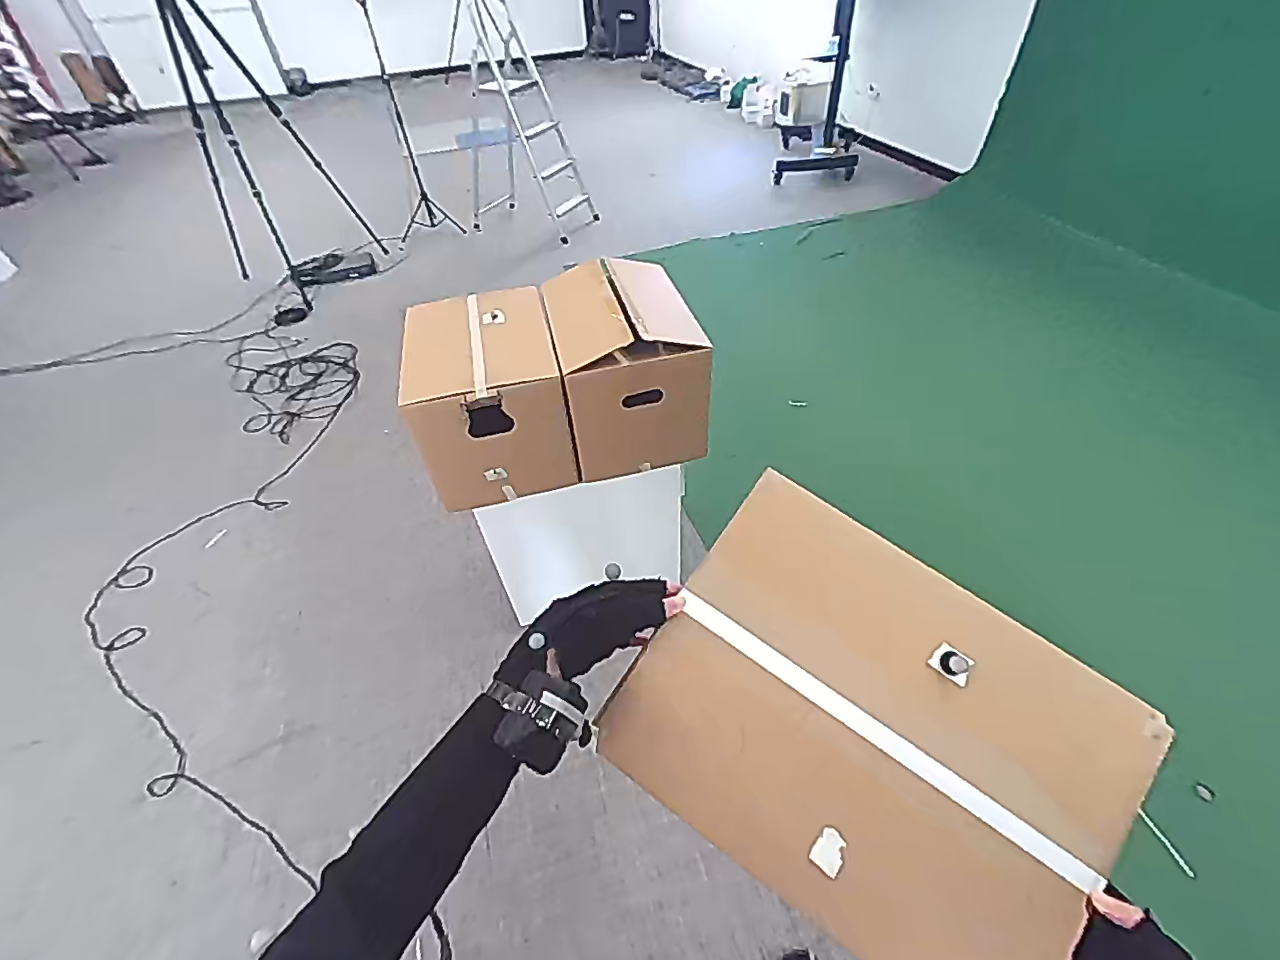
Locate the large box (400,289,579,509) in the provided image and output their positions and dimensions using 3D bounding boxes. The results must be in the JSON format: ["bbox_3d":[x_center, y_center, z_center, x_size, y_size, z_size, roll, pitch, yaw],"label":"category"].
[{"bbox_3d":[-0.349,-0.200,1.281,0.320,0.320,0.408,-12,46,-9],"label":"large box"}]
